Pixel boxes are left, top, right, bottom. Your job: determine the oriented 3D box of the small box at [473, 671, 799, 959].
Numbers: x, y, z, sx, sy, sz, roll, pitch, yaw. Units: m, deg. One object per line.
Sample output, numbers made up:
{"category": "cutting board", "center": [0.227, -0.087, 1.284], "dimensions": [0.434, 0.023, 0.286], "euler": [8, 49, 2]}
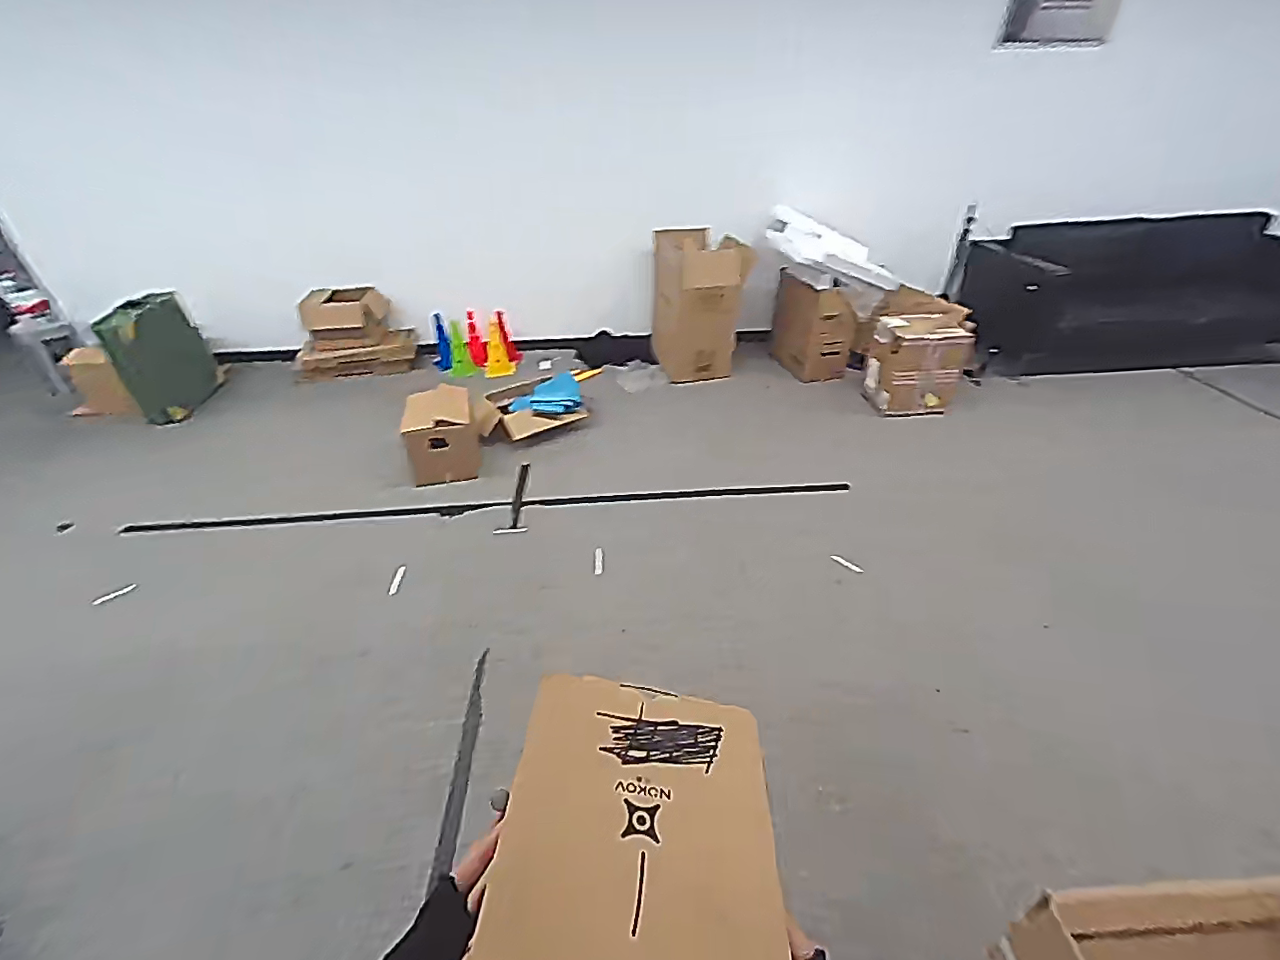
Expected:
{"category": "small box", "center": [-0.015, 0.266, 0.371], "dimensions": [0.168, 0.176, 0.179], "euler": [10, 26, -5]}
